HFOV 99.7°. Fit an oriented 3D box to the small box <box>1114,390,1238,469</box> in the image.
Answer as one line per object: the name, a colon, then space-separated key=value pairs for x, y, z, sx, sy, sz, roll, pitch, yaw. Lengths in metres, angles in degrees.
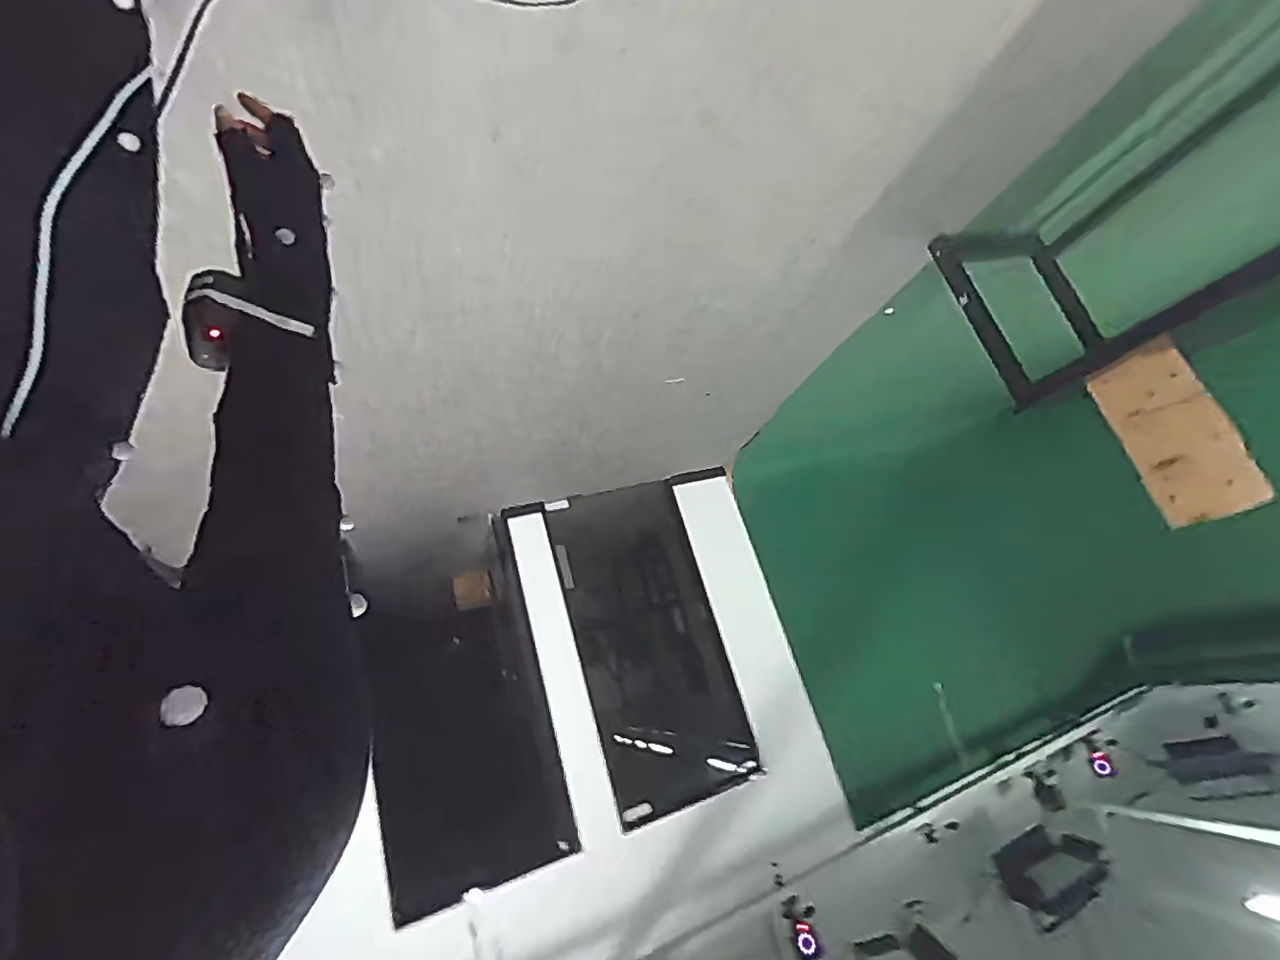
small box: x=1.604 y=-0.154 z=1.627 sx=0.179 sy=0.176 sz=0.168 roll=-14 pitch=162 yaw=-14

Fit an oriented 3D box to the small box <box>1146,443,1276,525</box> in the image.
small box: x=1.657 y=0.012 z=1.582 sx=0.179 sy=0.176 sz=0.168 roll=-15 pitch=163 yaw=-14
